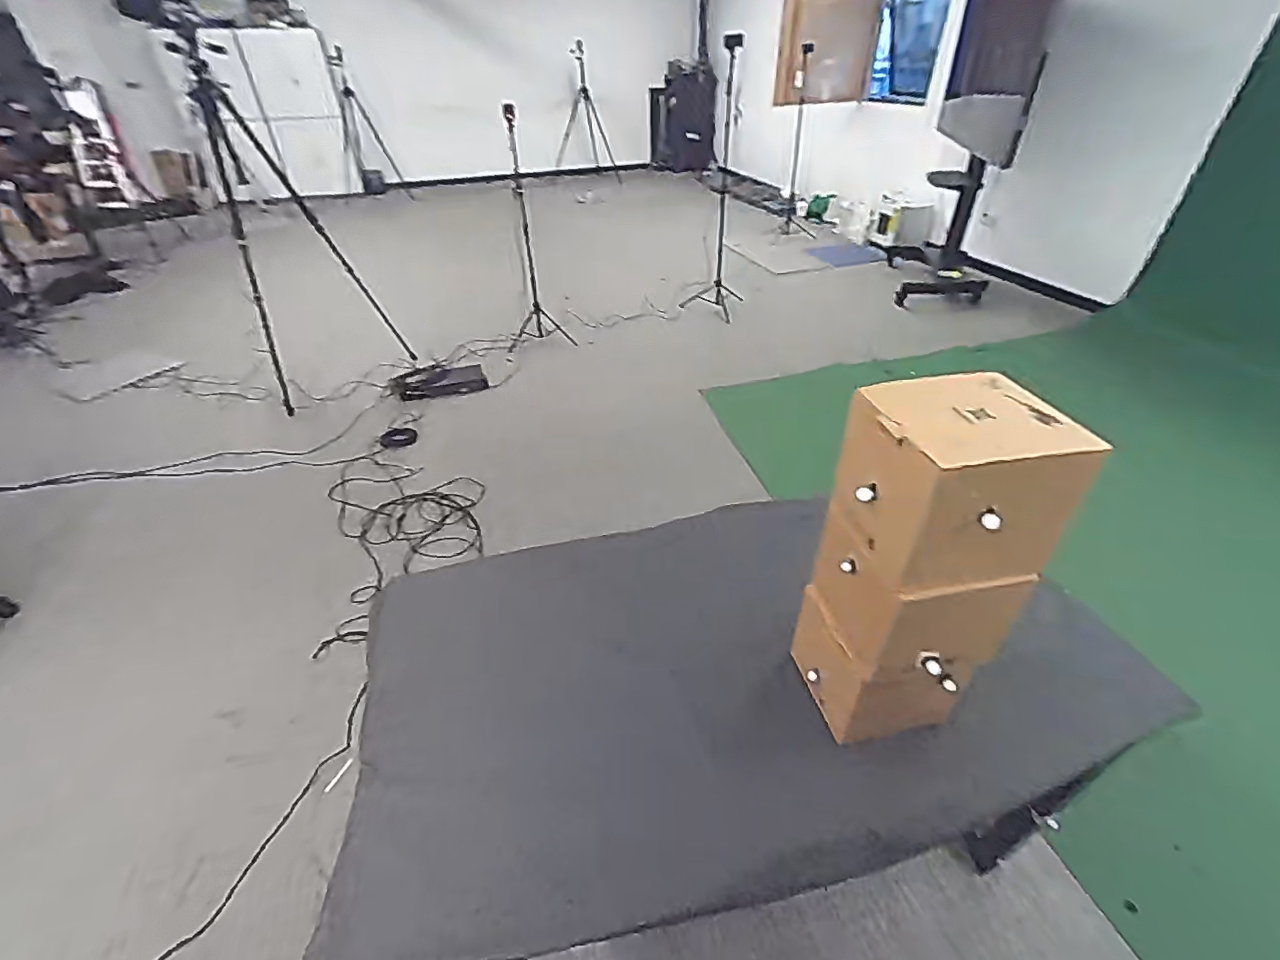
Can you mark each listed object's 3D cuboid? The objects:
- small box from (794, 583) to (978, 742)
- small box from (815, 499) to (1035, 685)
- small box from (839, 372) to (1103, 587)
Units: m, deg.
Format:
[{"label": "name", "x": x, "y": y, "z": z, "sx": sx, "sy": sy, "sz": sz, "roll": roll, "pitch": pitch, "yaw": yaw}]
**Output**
[{"label": "small box", "x": 0.349, "y": 0.257, "z": 0.801, "sx": 0.179, "sy": 0.176, "sz": 0.168, "roll": -9, "pitch": 37, "yaw": -8}, {"label": "small box", "x": 0.343, "y": 0.132, "z": 0.697, "sx": 0.168, "sy": 0.176, "sz": 0.179, "roll": -9, "pitch": 39, "yaw": -6}, {"label": "small box", "x": 0.338, "y": 0.000, "z": 0.600, "sx": 0.179, "sy": 0.176, "sz": 0.168, "roll": -8, "pitch": 38, "yaw": -4}]
